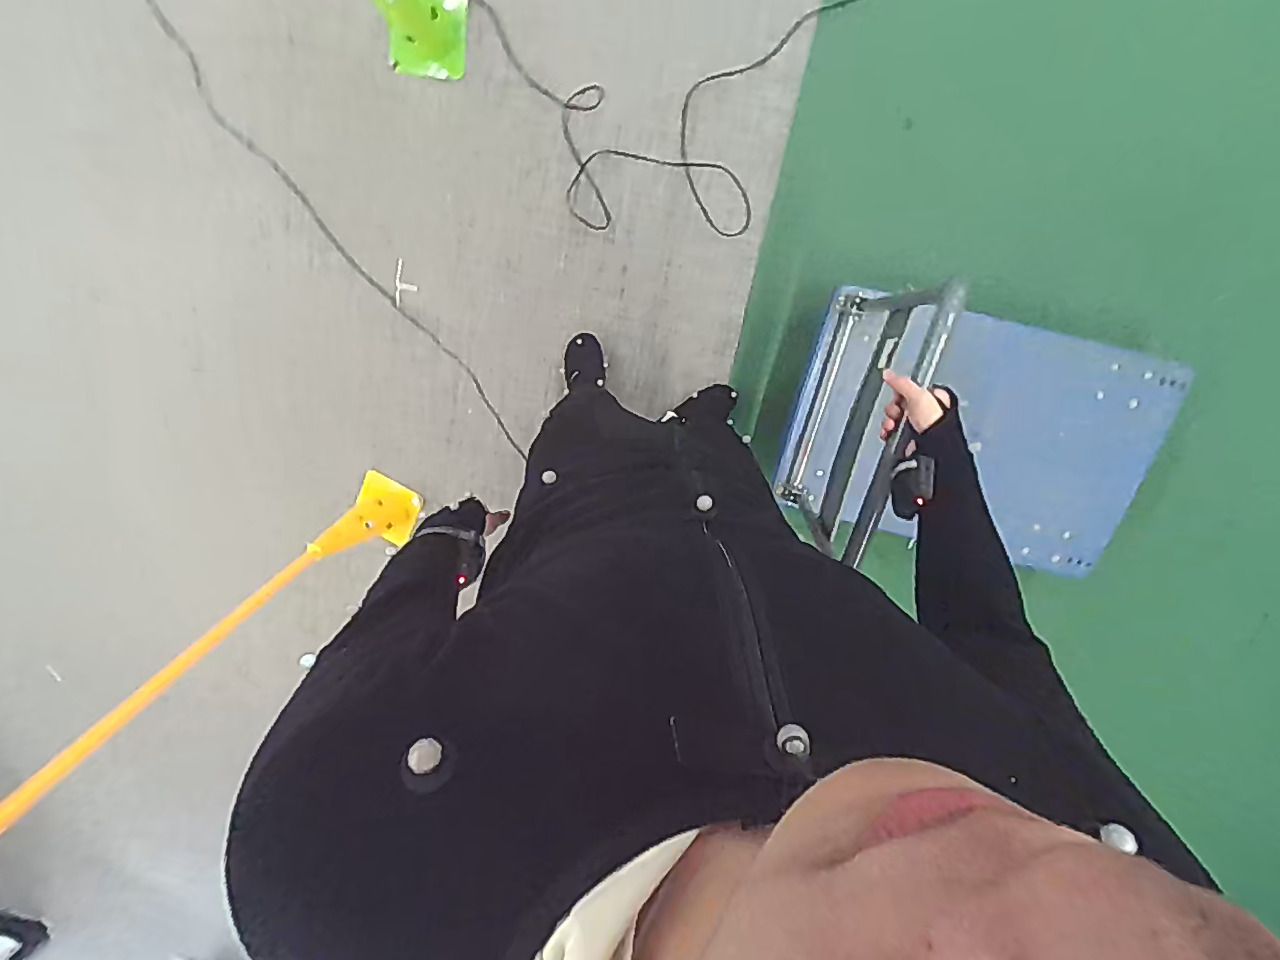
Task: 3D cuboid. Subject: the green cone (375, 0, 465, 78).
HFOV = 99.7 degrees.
[{"bbox_3d":[-0.560,-1.100,1.207,0.200,0.368,0.202,9,105,3],"label":"green cone"}]
